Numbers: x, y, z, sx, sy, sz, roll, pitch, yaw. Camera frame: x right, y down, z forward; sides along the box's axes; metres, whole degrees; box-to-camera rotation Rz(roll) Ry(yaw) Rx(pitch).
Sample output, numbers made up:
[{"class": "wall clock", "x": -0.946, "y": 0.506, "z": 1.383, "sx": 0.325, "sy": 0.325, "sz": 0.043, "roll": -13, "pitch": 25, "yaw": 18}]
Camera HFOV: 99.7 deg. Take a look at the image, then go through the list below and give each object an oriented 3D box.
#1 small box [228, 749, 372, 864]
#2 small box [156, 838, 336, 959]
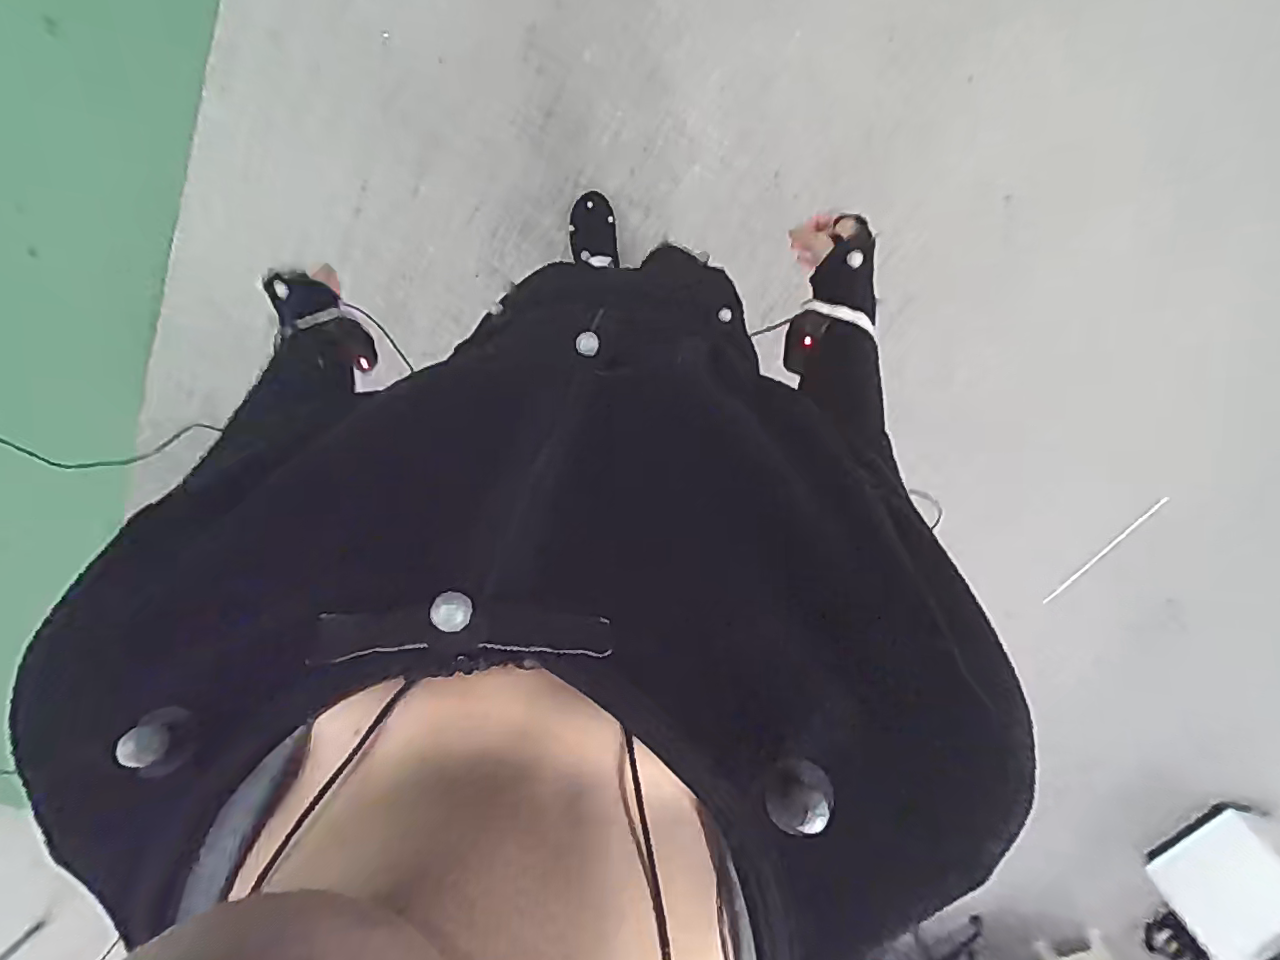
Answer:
[{"class": "small box", "x": -0.638, "y": 0.642, "z": 1.018, "sx": 0.179, "sy": 0.176, "sz": 0.168, "roll": 25, "pitch": 114, "yaw": -14}, {"class": "small box", "x": -0.633, "y": 0.716, "z": 0.871, "sx": 0.179, "sy": 0.176, "sz": 0.168, "roll": 27, "pitch": 115, "yaw": -15}]
